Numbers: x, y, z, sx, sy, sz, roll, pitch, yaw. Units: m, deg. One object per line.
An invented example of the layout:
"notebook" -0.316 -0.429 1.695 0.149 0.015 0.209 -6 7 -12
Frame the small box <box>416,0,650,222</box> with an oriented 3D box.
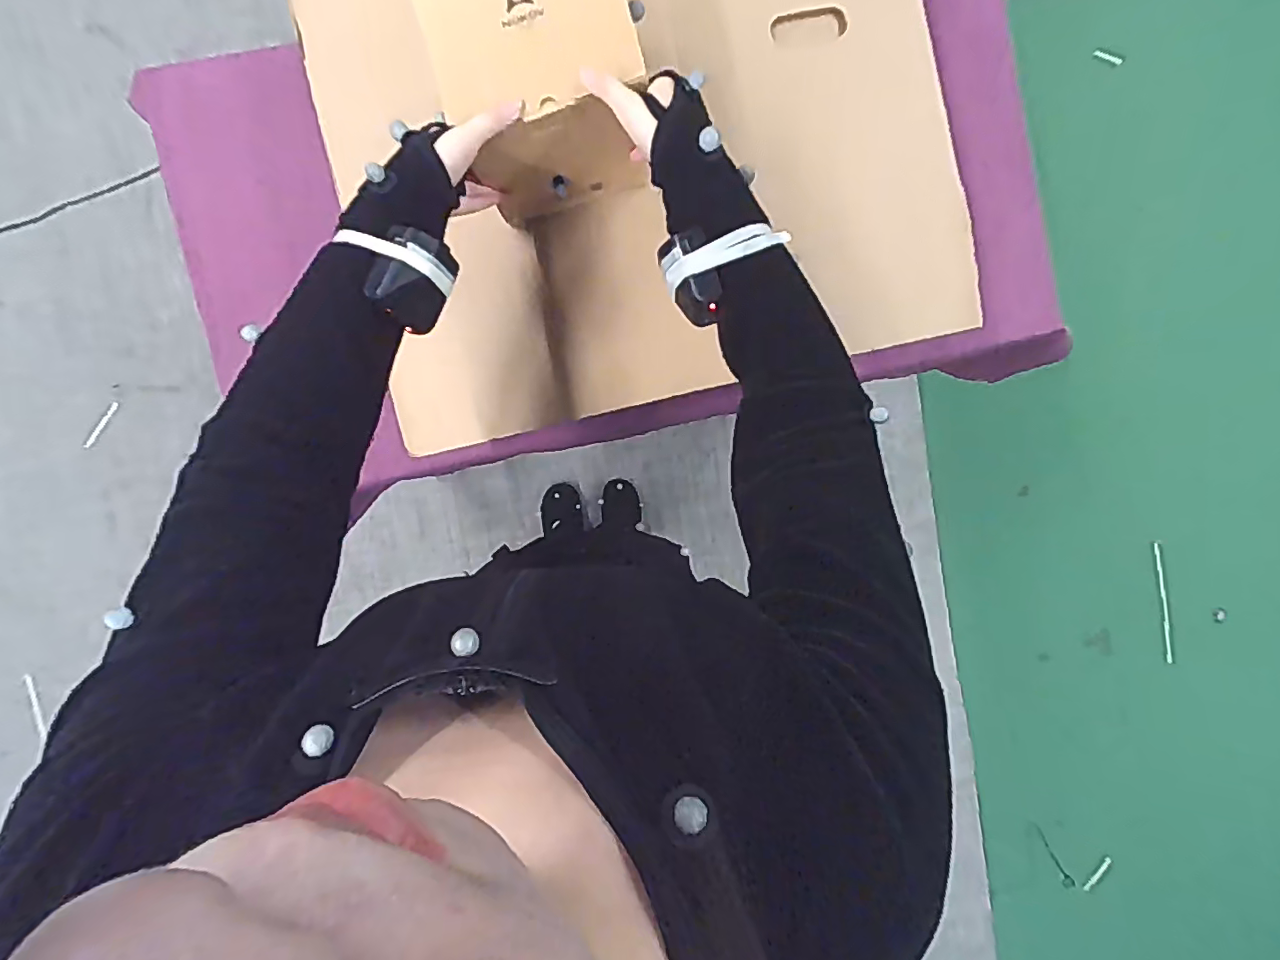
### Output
"small box" -0.091 -0.382 0.513 0.168 0.176 0.179 -16 94 4
